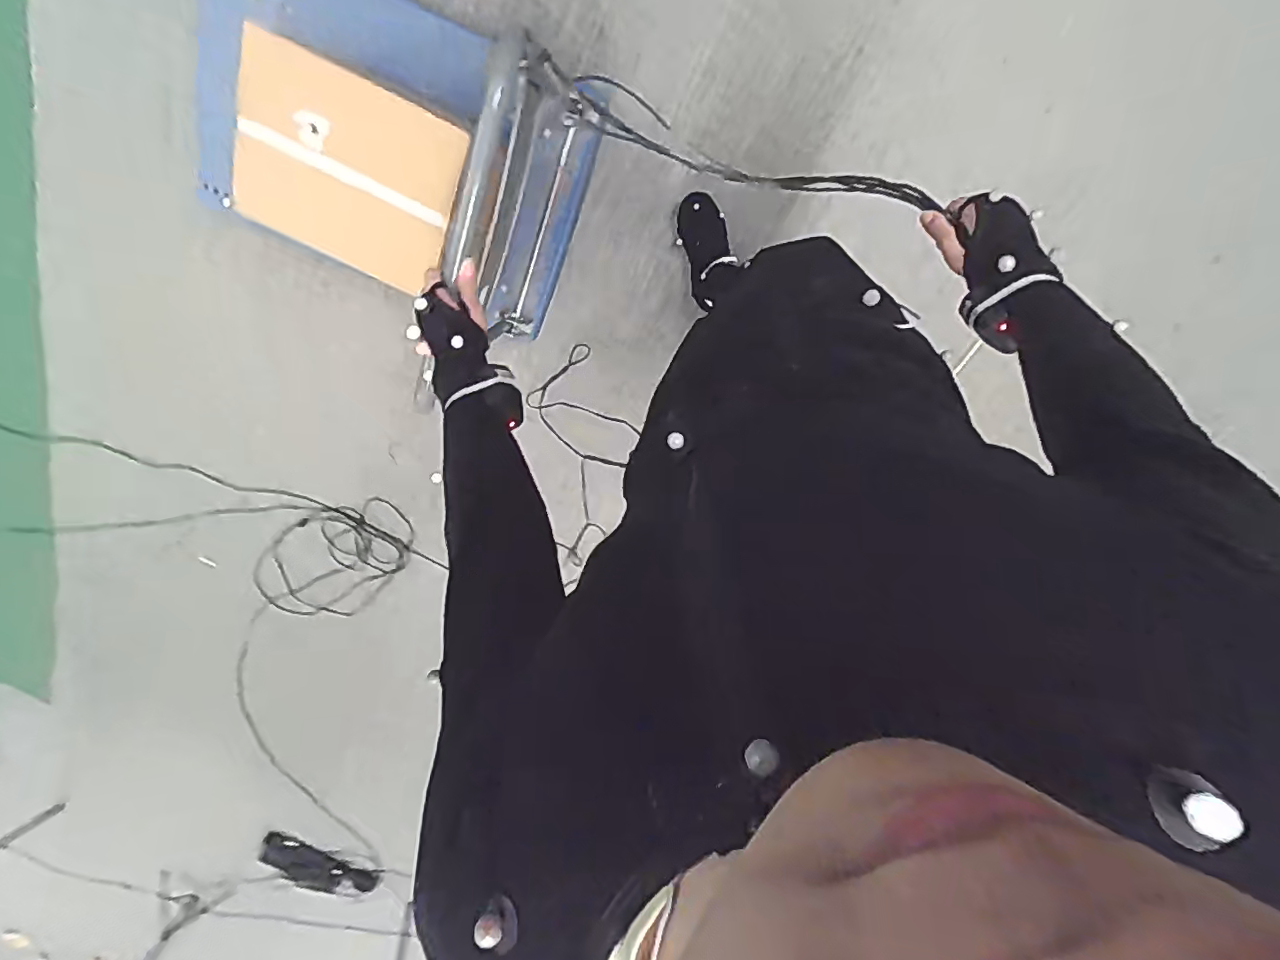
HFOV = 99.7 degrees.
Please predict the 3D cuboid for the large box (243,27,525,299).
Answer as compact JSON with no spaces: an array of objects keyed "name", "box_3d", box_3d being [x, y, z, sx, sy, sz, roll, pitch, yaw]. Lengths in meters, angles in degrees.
[{"name":"large box","box_3d":[-0.505,-0.625,1.119,0.408,0.320,0.320,26,116,-6]}]
